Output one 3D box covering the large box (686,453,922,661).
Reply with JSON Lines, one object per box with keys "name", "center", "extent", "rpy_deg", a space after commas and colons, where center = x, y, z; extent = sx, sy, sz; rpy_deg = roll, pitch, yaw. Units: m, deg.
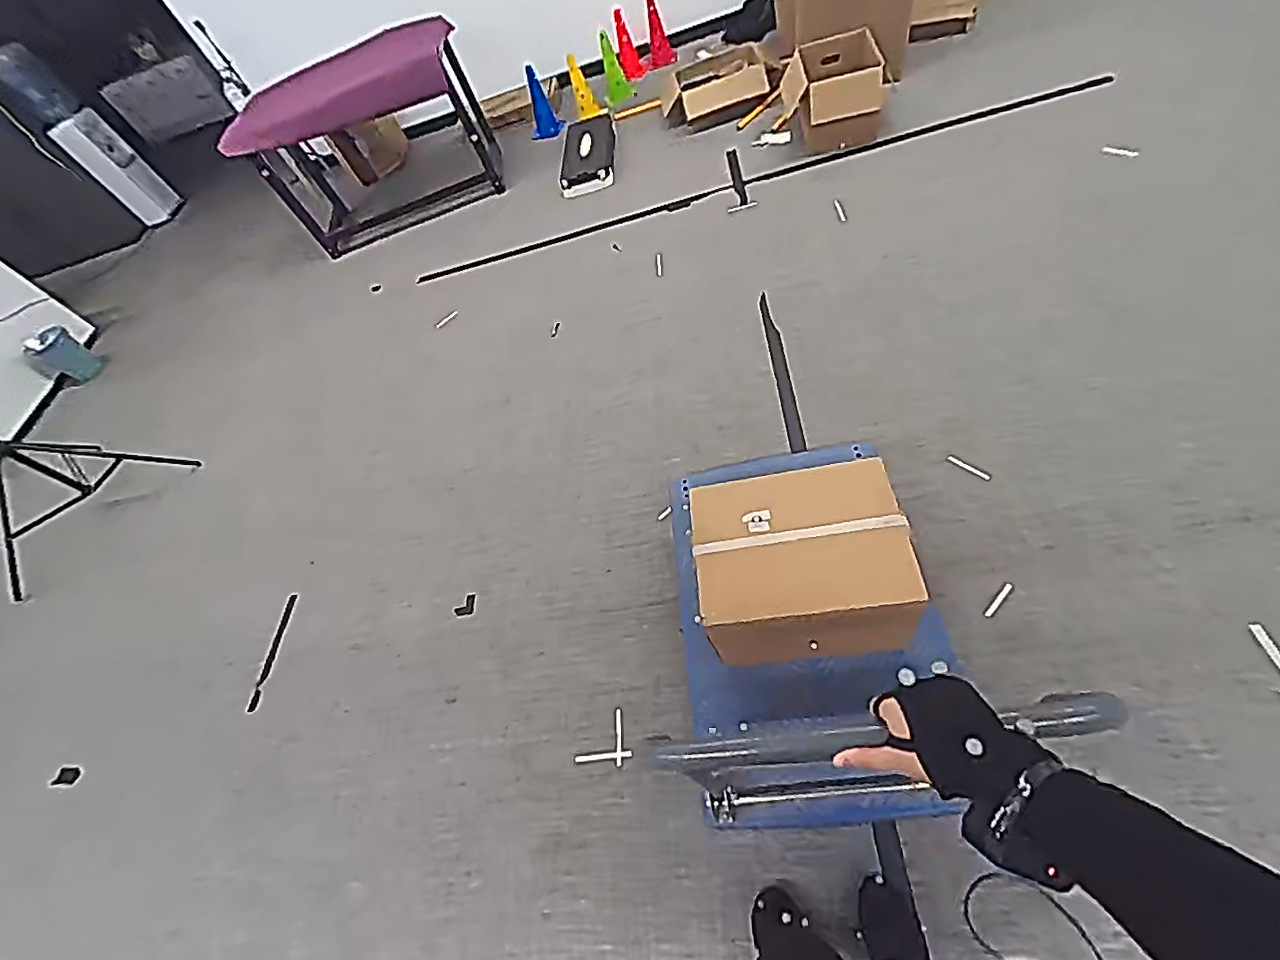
{"name": "large box", "center": [0.340, 0.184, 1.180], "extent": [0.408, 0.320, 0.320], "rpy_deg": [-11, 54, 13]}
